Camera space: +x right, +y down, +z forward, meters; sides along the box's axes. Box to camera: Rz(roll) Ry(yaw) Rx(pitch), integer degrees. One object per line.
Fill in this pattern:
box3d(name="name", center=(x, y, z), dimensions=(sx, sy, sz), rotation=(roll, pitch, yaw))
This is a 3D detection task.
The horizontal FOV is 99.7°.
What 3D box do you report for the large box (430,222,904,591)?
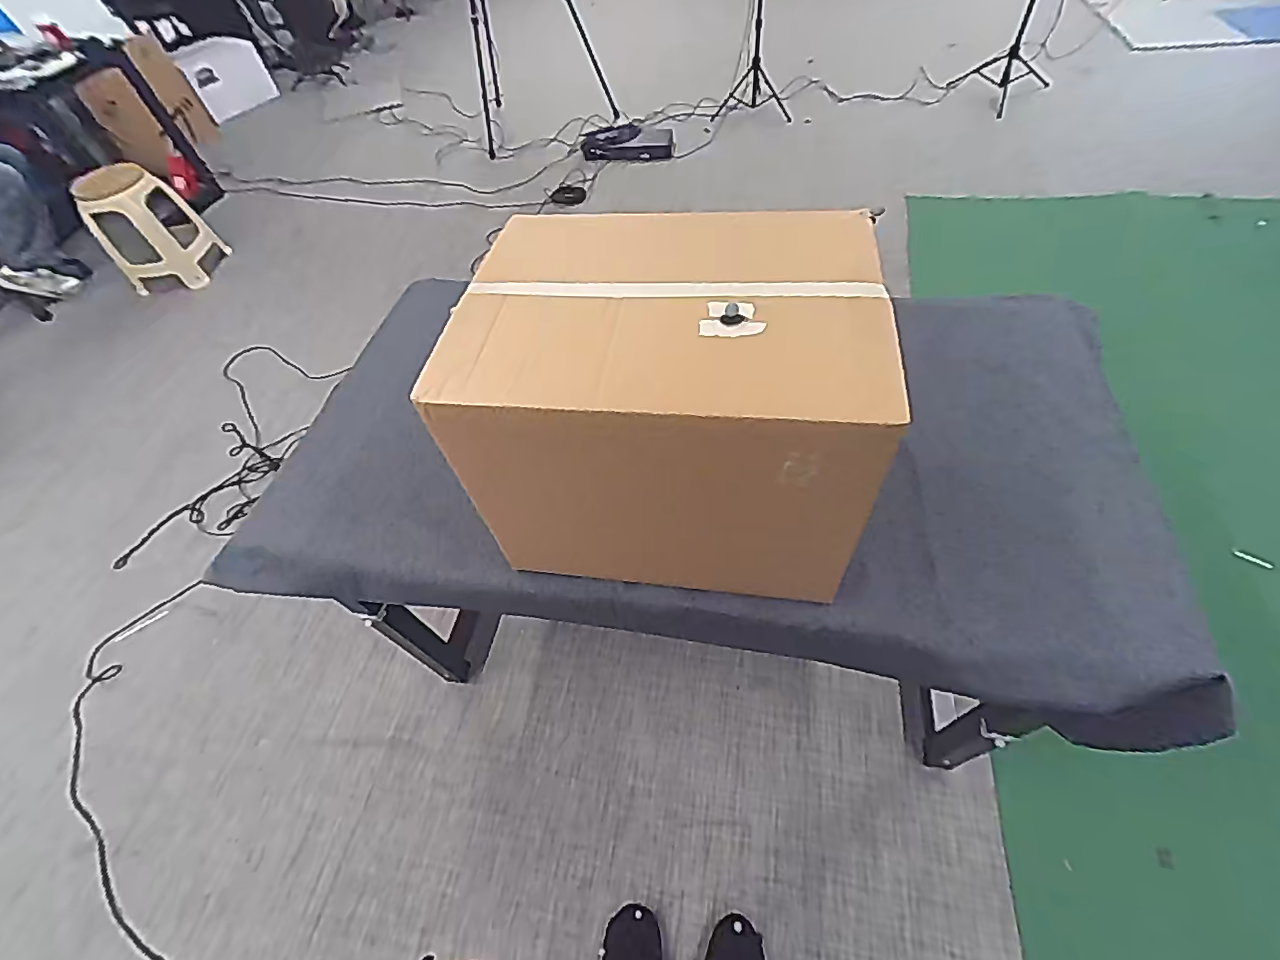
box3d(name="large box", center=(0.040, -0.085, 0.649), dimensions=(0.408, 0.320, 0.320), rotation=(4, 53, 9))
